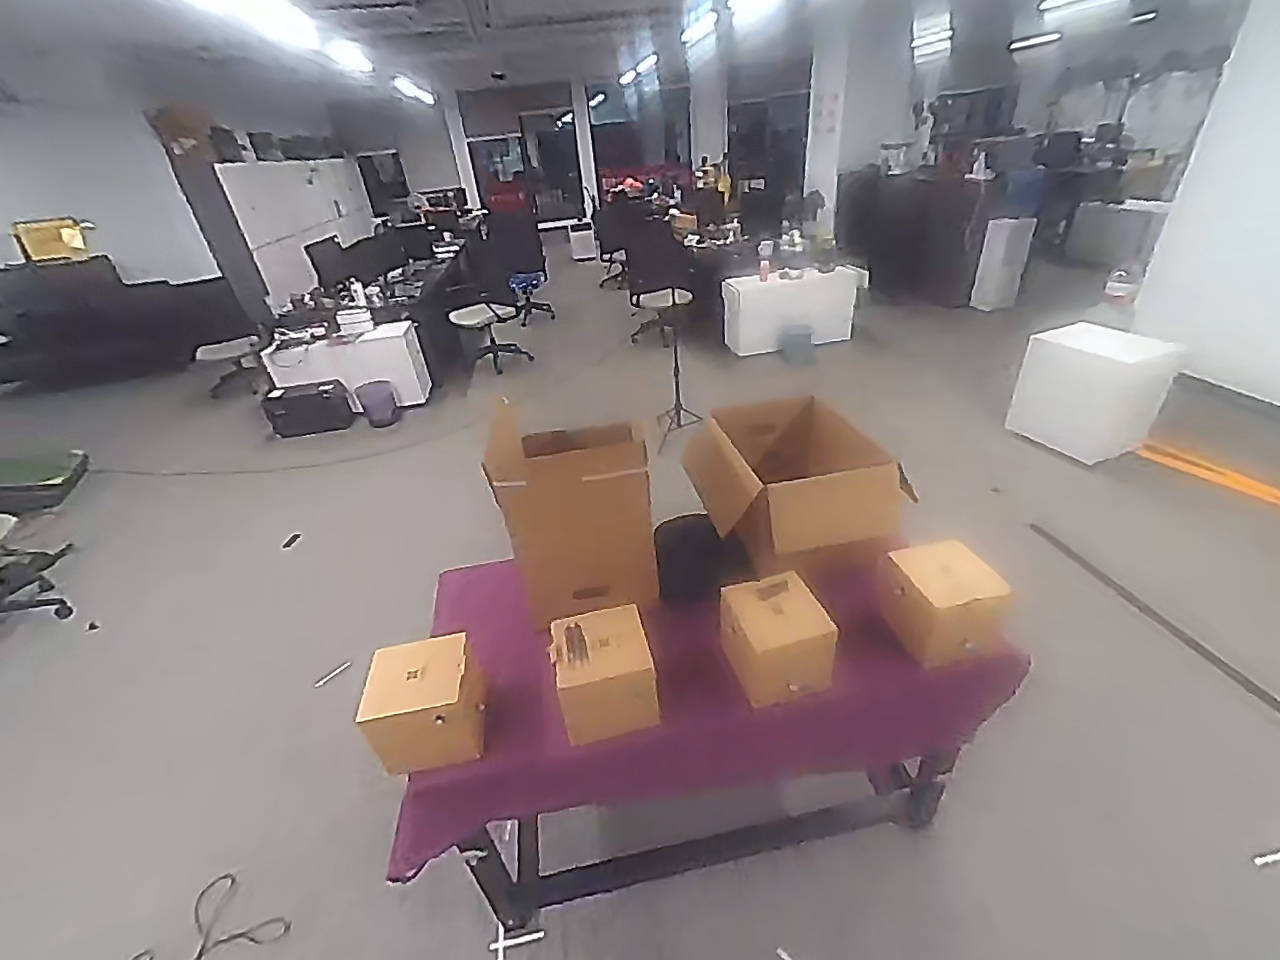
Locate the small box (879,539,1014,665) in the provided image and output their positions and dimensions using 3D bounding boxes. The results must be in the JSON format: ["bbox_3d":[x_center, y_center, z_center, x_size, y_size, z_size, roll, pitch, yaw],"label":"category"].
[{"bbox_3d":[0.621,0.251,1.124,0.168,0.176,0.179,-11,32,-4],"label":"small box"}]

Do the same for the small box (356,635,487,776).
[{"bbox_3d":[-0.403,0.429,1.029,0.179,0.176,0.168,-9,32,-7],"label":"small box"}]

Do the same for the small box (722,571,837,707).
[{"bbox_3d":[0.269,0.317,1.086,0.168,0.176,0.179,-13,33,-9],"label":"small box"}]
